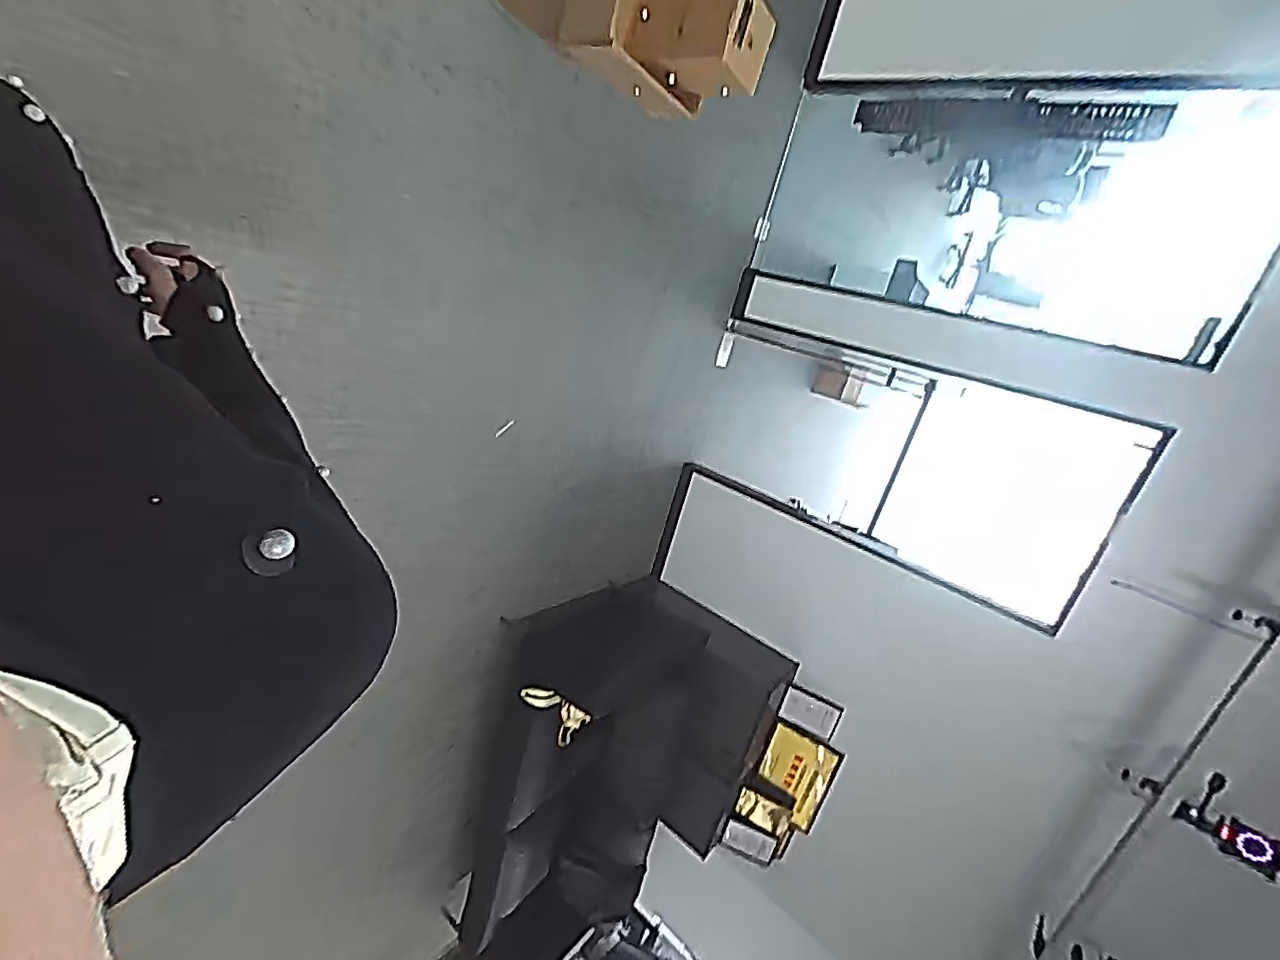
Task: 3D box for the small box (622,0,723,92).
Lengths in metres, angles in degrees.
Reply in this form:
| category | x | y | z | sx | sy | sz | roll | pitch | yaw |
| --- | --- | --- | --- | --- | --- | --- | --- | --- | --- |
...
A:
| category | x | y | z | sx | sy | sz | roll | pitch | yaw |
| --- | --- | --- | --- | --- | --- | --- | --- | --- | --- |
| small box | 0.085 | -1.167 | 1.431 | 0.179 | 0.176 | 0.168 | -4 | 118 | -53 |
